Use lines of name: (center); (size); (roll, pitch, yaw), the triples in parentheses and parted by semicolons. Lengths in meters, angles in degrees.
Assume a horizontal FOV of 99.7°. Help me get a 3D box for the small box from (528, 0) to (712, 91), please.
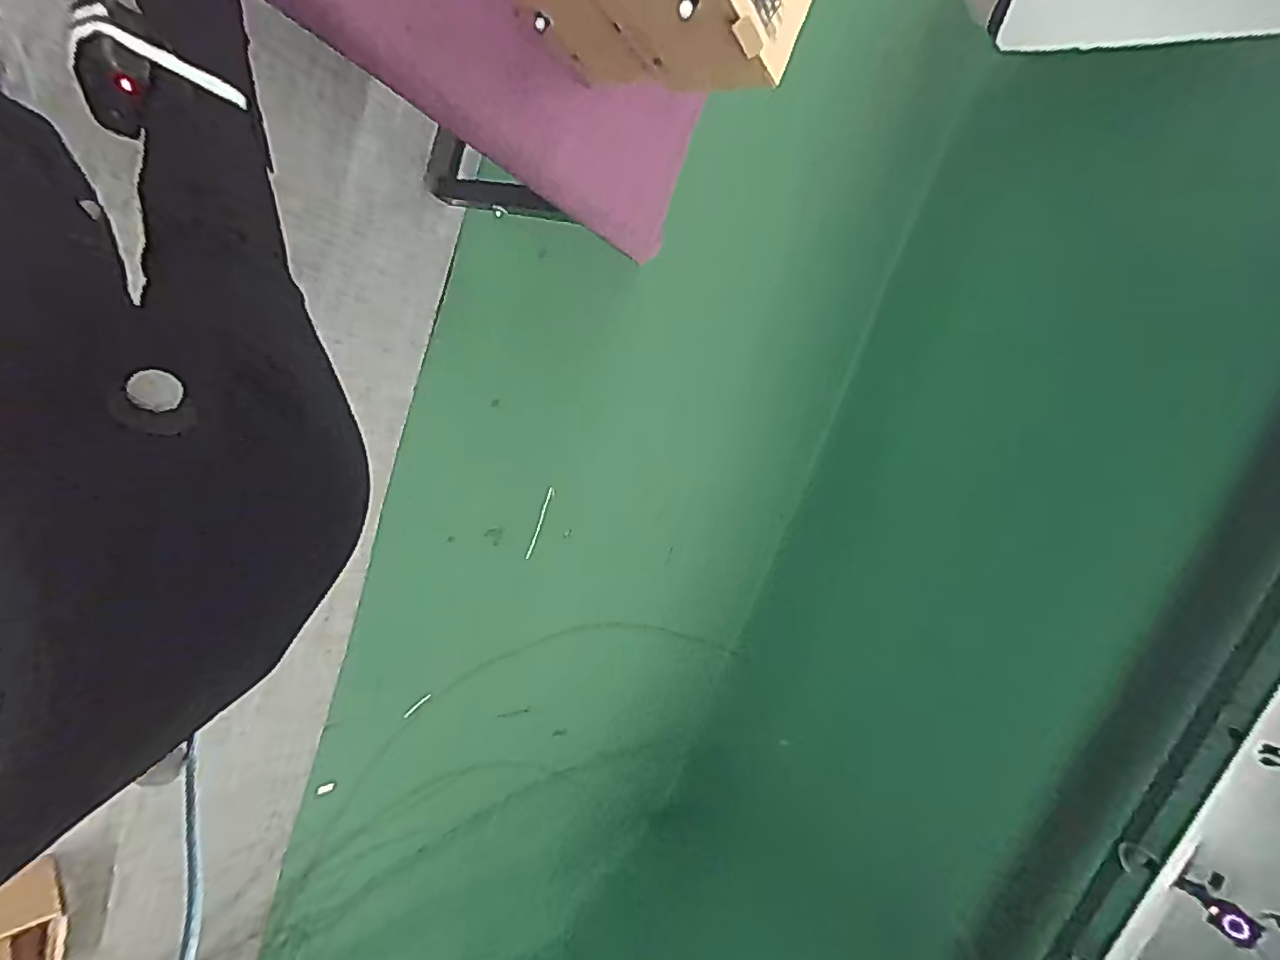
small box: (-0.026, -0.648, 0.705); (0.168, 0.176, 0.179); (14, 101, -56)
